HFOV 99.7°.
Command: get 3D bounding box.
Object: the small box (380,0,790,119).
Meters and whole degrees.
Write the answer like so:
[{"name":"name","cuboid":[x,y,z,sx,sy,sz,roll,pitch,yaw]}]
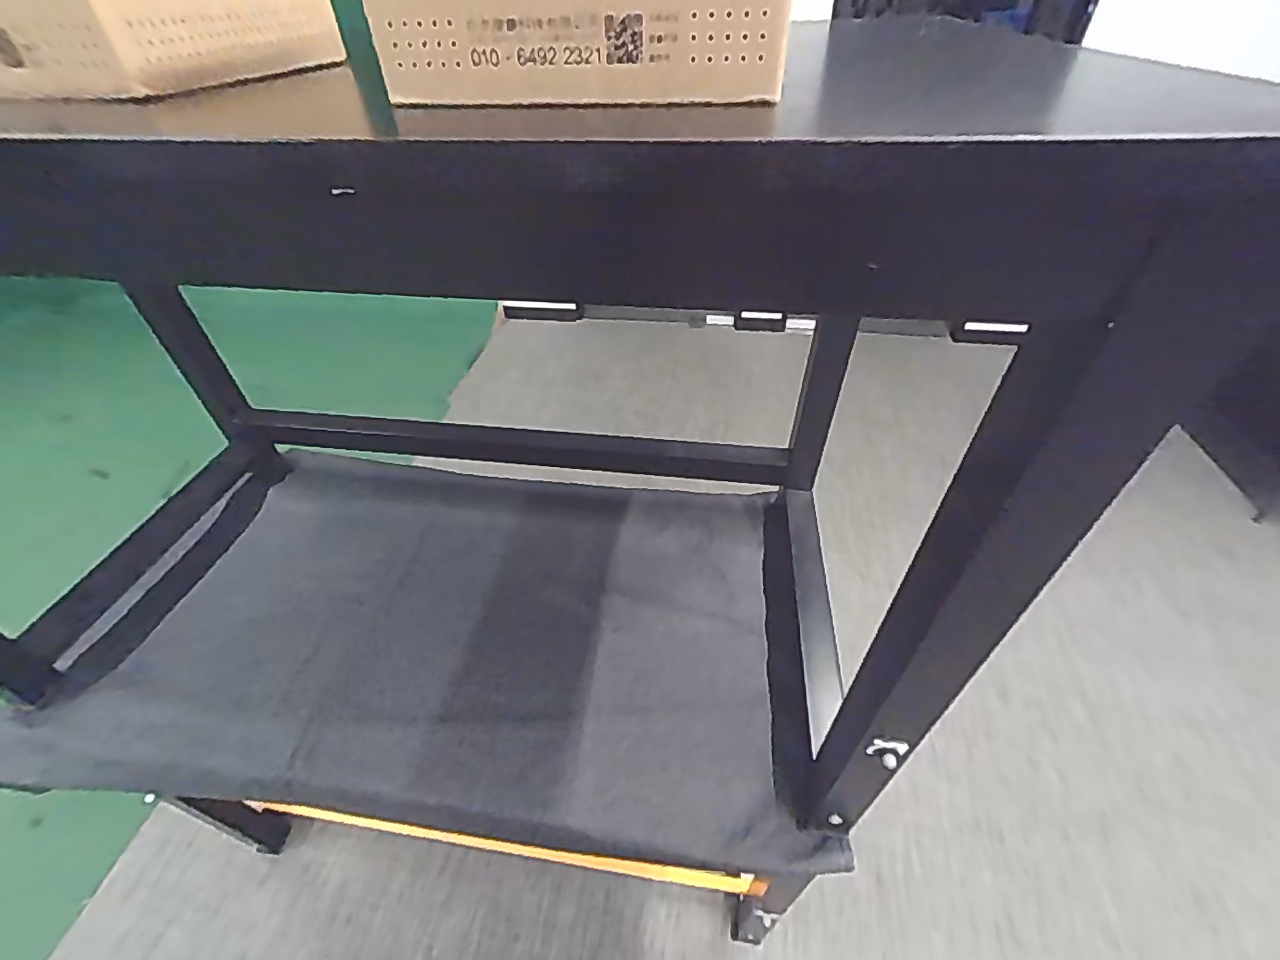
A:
[{"name":"small box","cuboid":[-0.015,-0.267,0.232,0.168,0.176,0.179,6,43,7]}]
